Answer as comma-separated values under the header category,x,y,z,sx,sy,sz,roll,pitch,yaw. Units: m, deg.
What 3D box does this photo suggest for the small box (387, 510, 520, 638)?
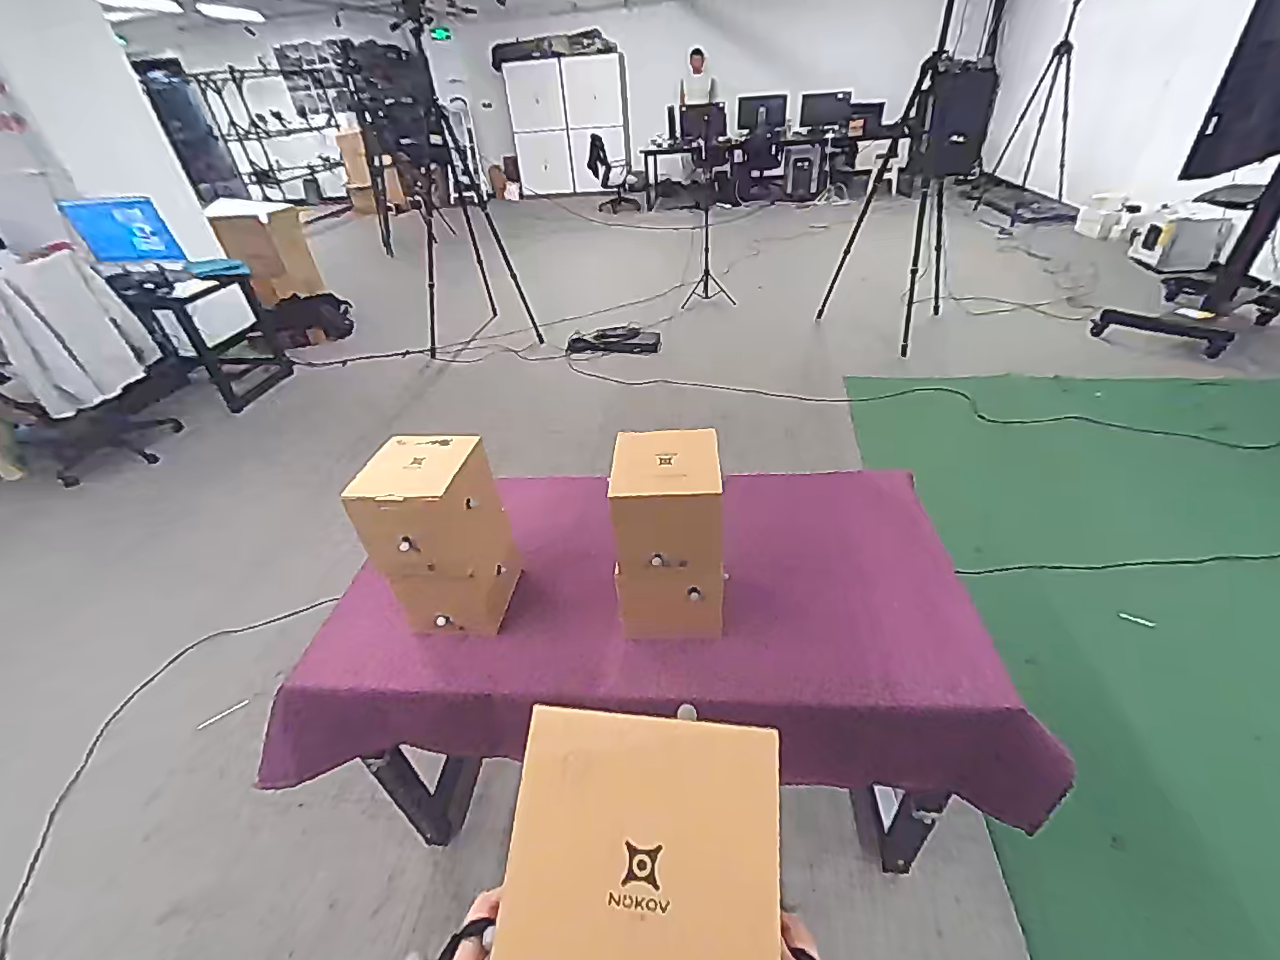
category,x,y,z,sx,sy,sz,roll,pitch,yaw
small box,-0.338,0.172,1.023,0.168,0.176,0.179,0,37,7

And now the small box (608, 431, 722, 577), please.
category,x,y,z,sx,sy,sz,roll,pitch,yaw
small box,0.045,0.037,0.880,0.168,0.176,0.179,-2,37,6

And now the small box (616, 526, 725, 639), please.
category,x,y,z,sx,sy,sz,roll,pitch,yaw
small box,0.059,0.170,0.974,0.179,0.176,0.168,-1,36,6

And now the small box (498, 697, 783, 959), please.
category,x,y,z,sx,sy,sz,roll,pitch,yaw
small box,0.009,0.267,0.402,0.168,0.176,0.179,3,66,6

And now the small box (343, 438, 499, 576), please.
category,x,y,z,sx,sy,sz,roll,pitch,yaw
small box,-0.354,0.045,0.919,0.168,0.176,0.179,1,38,7
